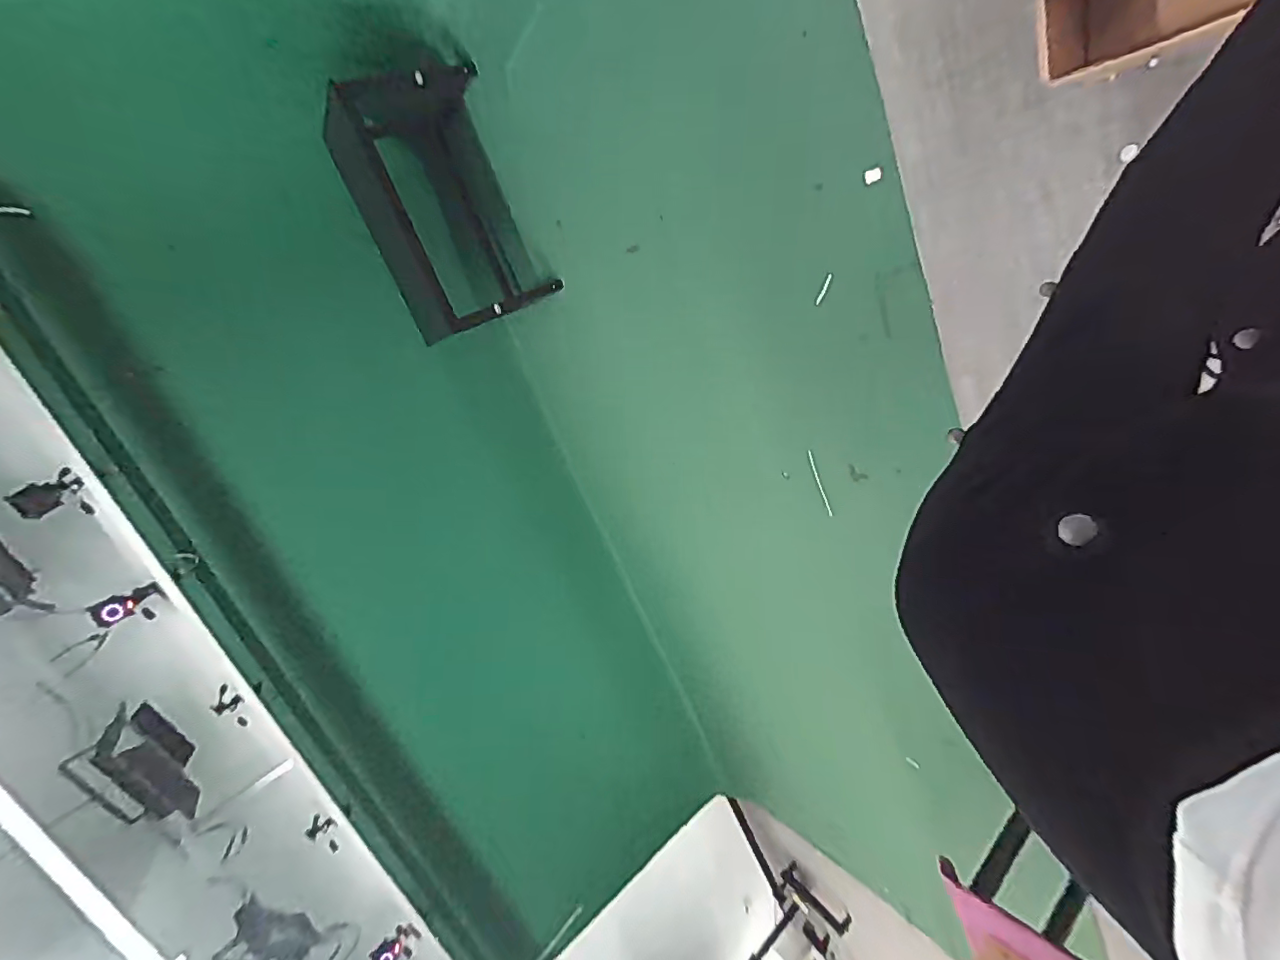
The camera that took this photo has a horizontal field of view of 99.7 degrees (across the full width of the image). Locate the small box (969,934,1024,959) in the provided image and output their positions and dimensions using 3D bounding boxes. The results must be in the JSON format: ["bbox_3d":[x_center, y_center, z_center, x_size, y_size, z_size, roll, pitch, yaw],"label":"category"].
[{"bbox_3d":[1.049,1.472,1.544,0.168,0.176,0.179,4,122,57],"label":"small box"}]
